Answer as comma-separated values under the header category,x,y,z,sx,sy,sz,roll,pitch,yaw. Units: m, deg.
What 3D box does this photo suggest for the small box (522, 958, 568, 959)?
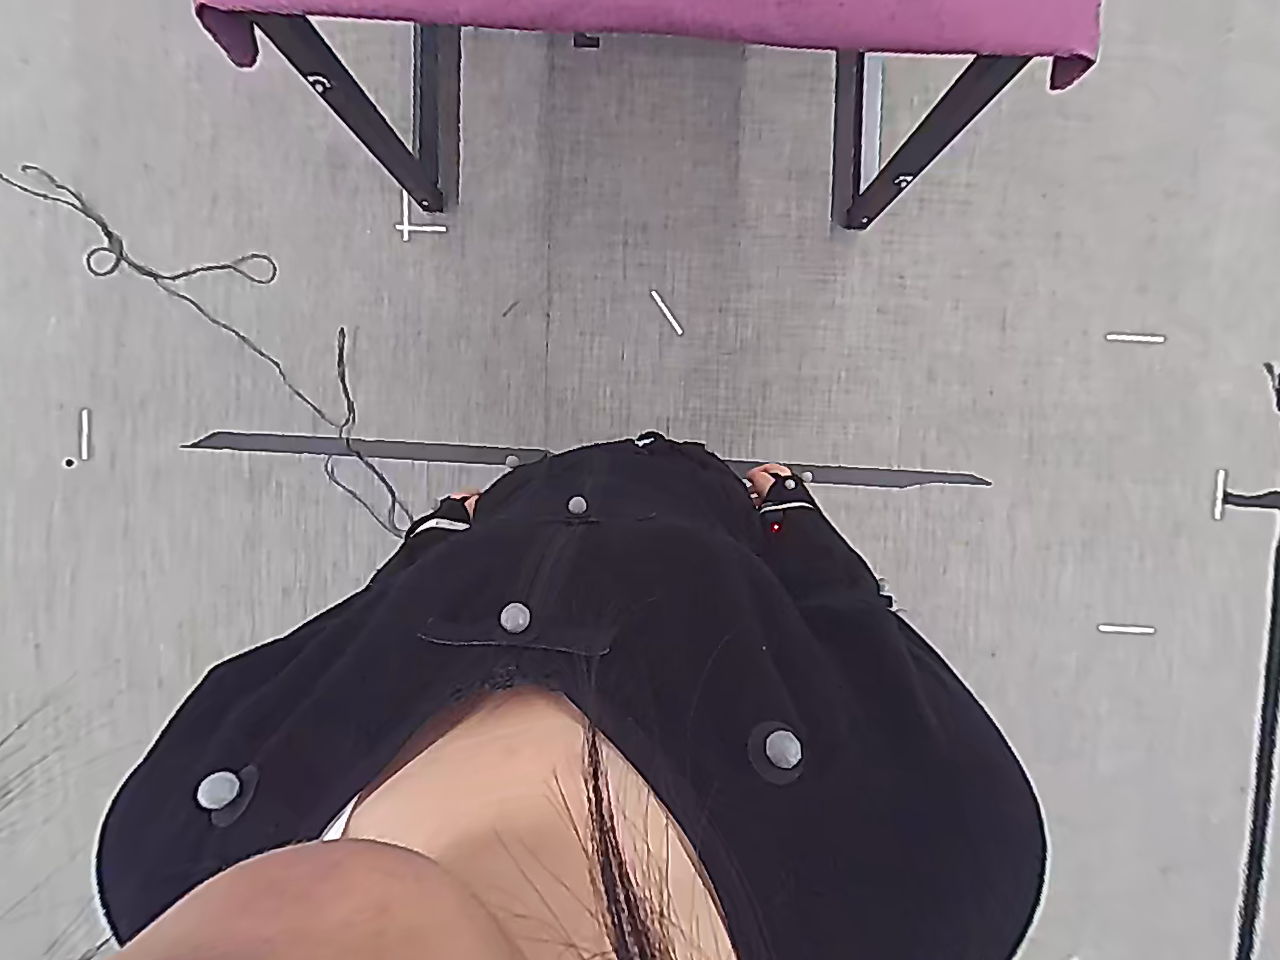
category,x,y,z,sx,sy,sz,roll,pitch,yaw
small box,-0.262,1.427,1.433,0.168,0.176,0.179,-4,93,-1
